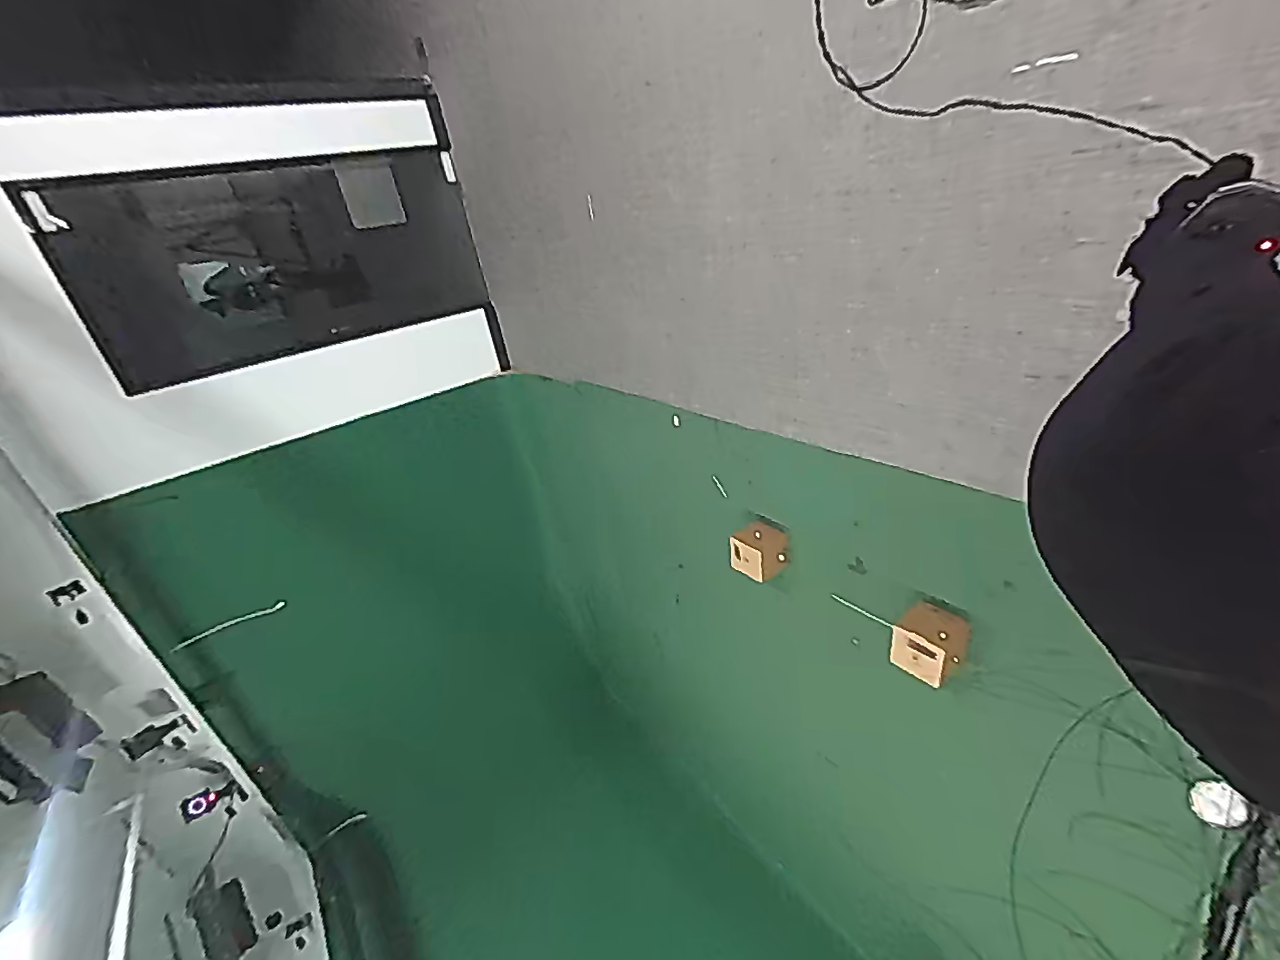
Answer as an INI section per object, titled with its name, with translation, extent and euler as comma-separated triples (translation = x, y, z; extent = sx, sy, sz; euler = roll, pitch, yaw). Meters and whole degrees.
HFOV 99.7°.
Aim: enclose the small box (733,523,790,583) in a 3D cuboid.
[small box]
translation = 0.521, 0.307, 2.320
extent = 0.179, 0.176, 0.168
euler = 26, 134, 47
